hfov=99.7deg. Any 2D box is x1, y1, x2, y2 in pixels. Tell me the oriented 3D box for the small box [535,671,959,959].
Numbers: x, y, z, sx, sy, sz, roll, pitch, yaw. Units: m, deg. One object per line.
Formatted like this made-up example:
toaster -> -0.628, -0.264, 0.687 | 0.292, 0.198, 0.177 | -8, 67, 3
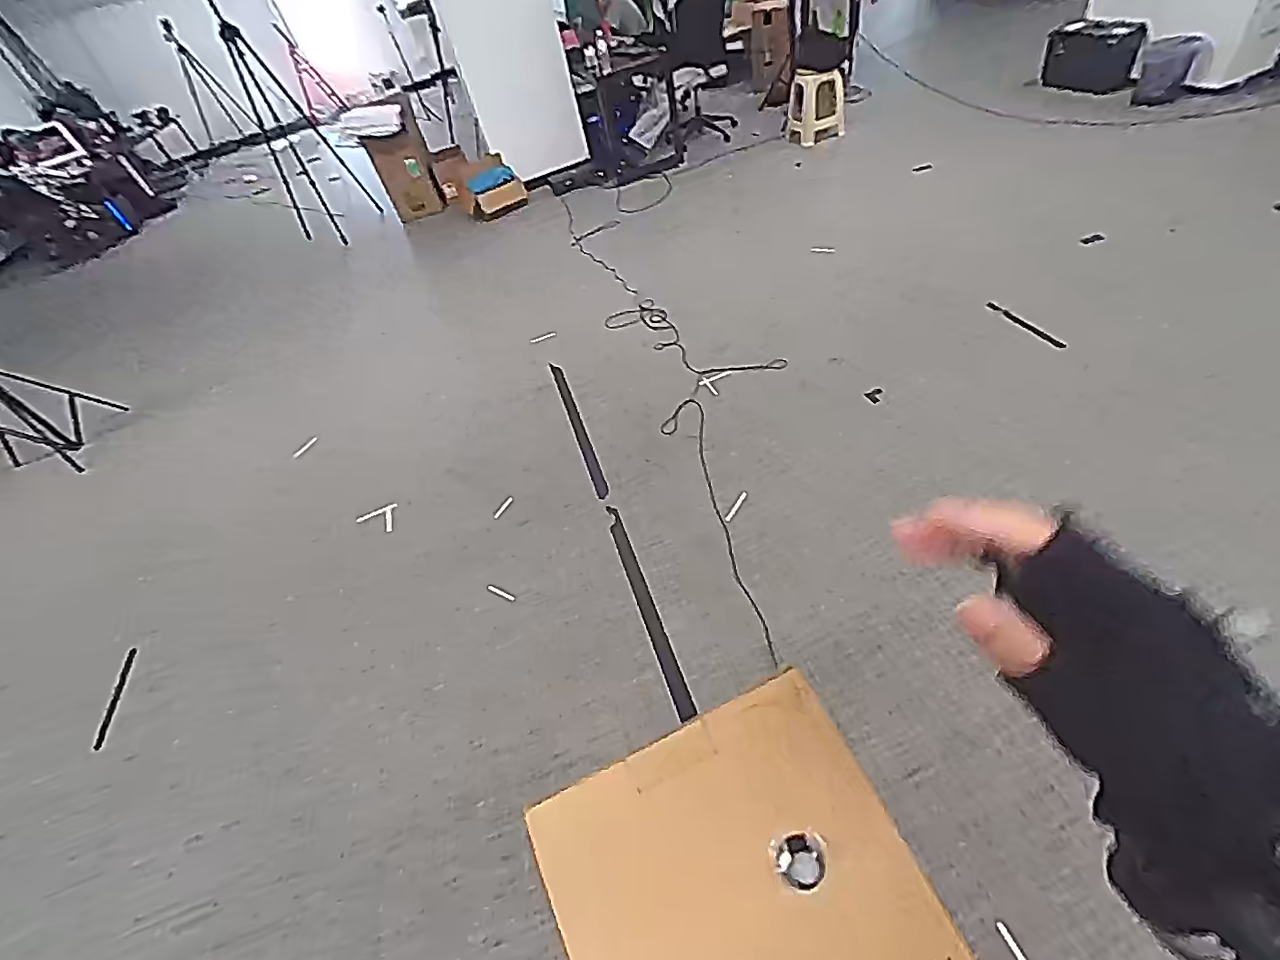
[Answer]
small box -> 0.062, 0.241, 0.341 | 0.168, 0.179, 0.176 | -27, 66, -2
